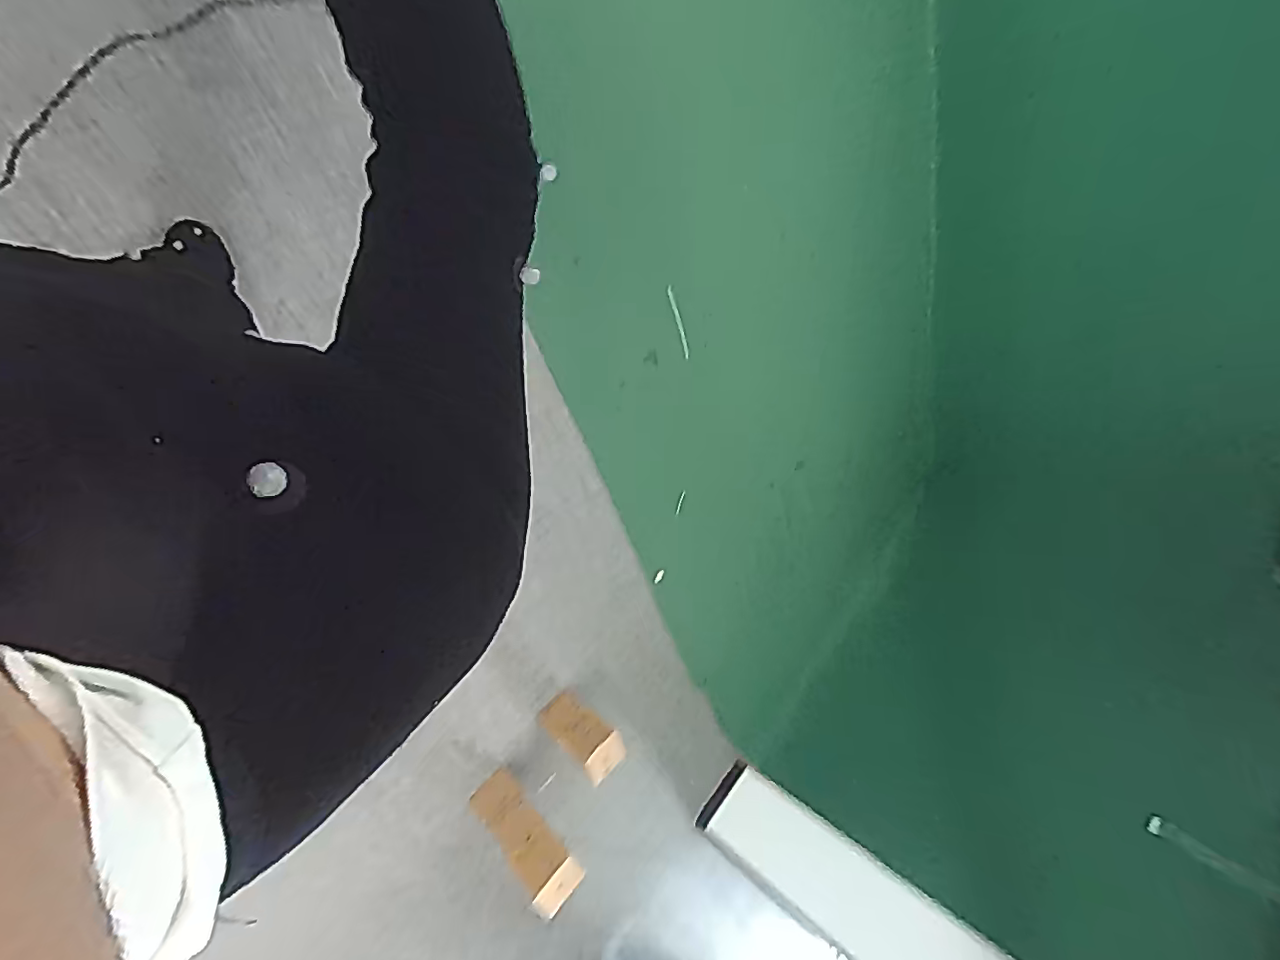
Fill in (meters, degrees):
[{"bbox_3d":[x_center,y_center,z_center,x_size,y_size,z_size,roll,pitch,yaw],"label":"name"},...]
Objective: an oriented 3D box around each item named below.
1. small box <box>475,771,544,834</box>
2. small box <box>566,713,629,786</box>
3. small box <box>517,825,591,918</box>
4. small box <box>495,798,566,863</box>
[{"bbox_3d":[-0.523,1.305,2.151,0.179,0.176,0.168,-41,128,-27],"label":"small box"},{"bbox_3d":[-0.173,1.077,2.183,0.168,0.176,0.179,-35,125,-31],"label":"small box"},{"bbox_3d":[-0.311,1.384,1.916,0.179,0.176,0.168,-41,128,-28],"label":"small box"},{"bbox_3d":[-0.415,1.340,2.033,0.168,0.176,0.179,-40,128,-28],"label":"small box"}]
